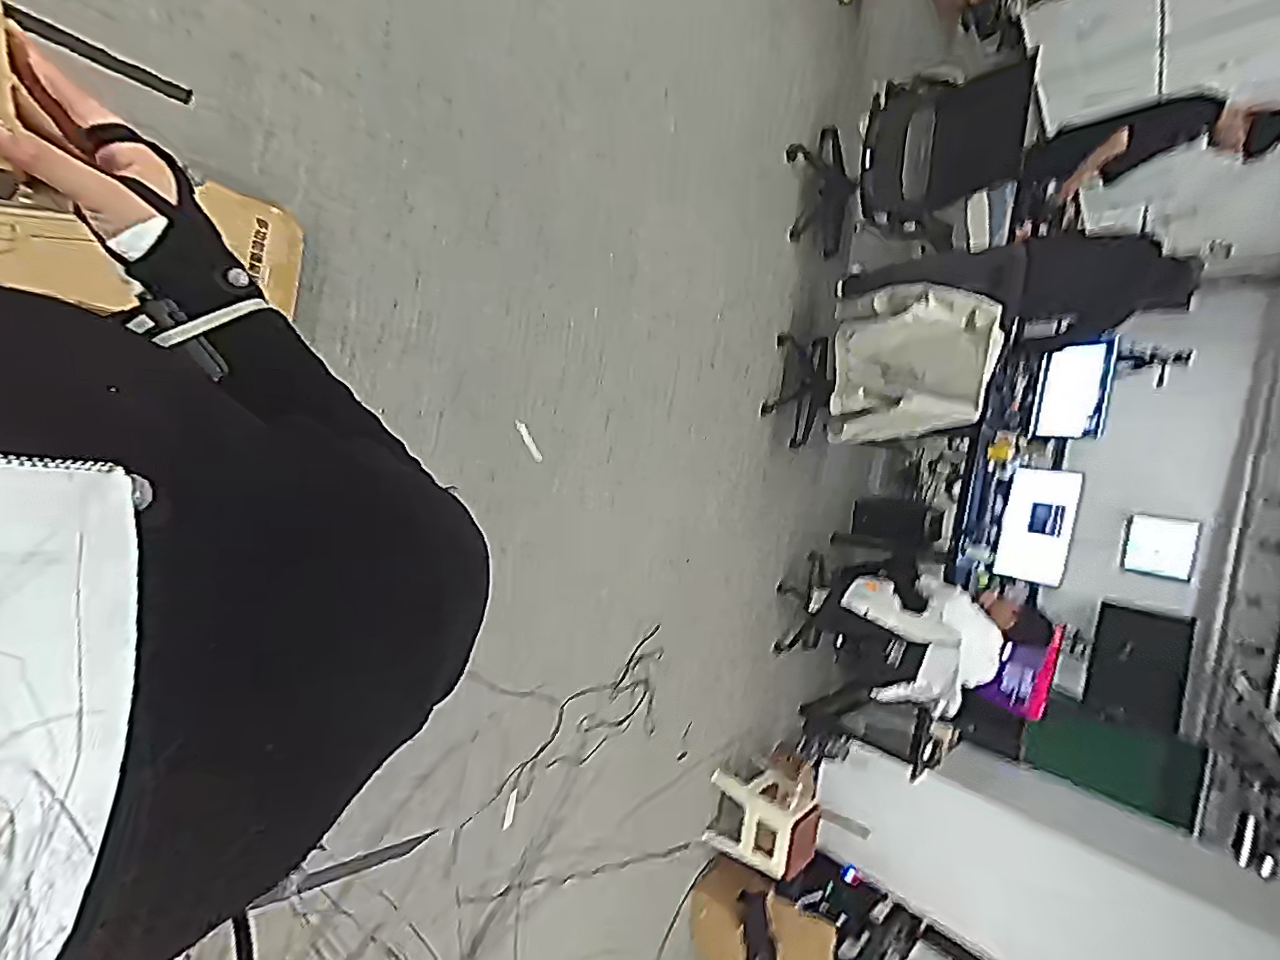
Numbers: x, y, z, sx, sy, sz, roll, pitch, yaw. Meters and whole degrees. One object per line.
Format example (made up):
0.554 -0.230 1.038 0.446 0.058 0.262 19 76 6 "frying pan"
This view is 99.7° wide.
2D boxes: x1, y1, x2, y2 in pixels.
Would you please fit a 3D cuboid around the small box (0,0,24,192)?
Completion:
-0.471 -0.277 0.291 0.168 0.176 0.179 -9 110 -49 "small box"
